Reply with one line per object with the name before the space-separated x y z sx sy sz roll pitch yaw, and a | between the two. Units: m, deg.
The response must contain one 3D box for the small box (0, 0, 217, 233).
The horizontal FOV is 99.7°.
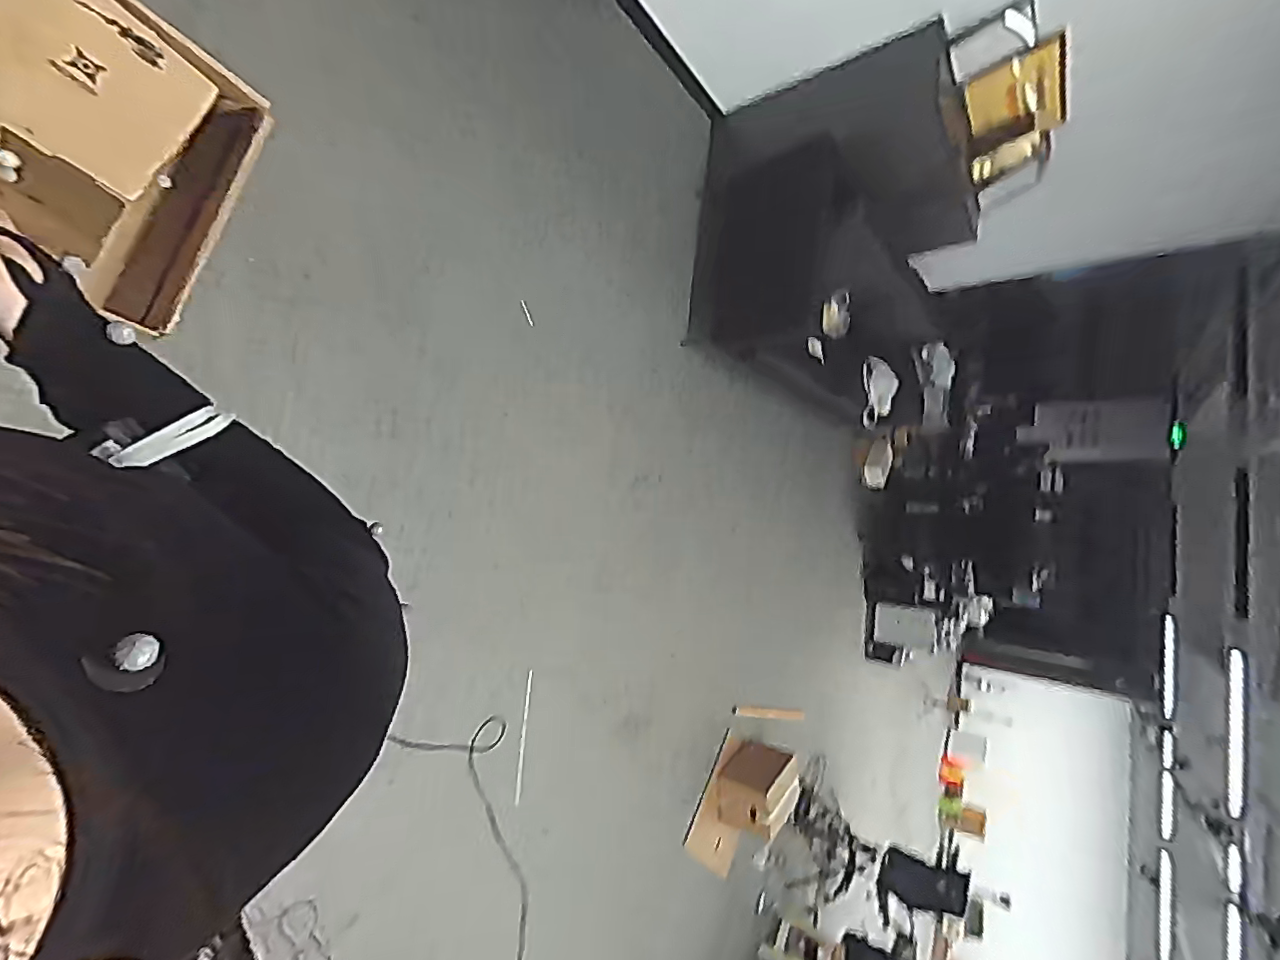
small box | -0.601 -0.394 0.568 0.168 0.176 0.179 38 63 -47
